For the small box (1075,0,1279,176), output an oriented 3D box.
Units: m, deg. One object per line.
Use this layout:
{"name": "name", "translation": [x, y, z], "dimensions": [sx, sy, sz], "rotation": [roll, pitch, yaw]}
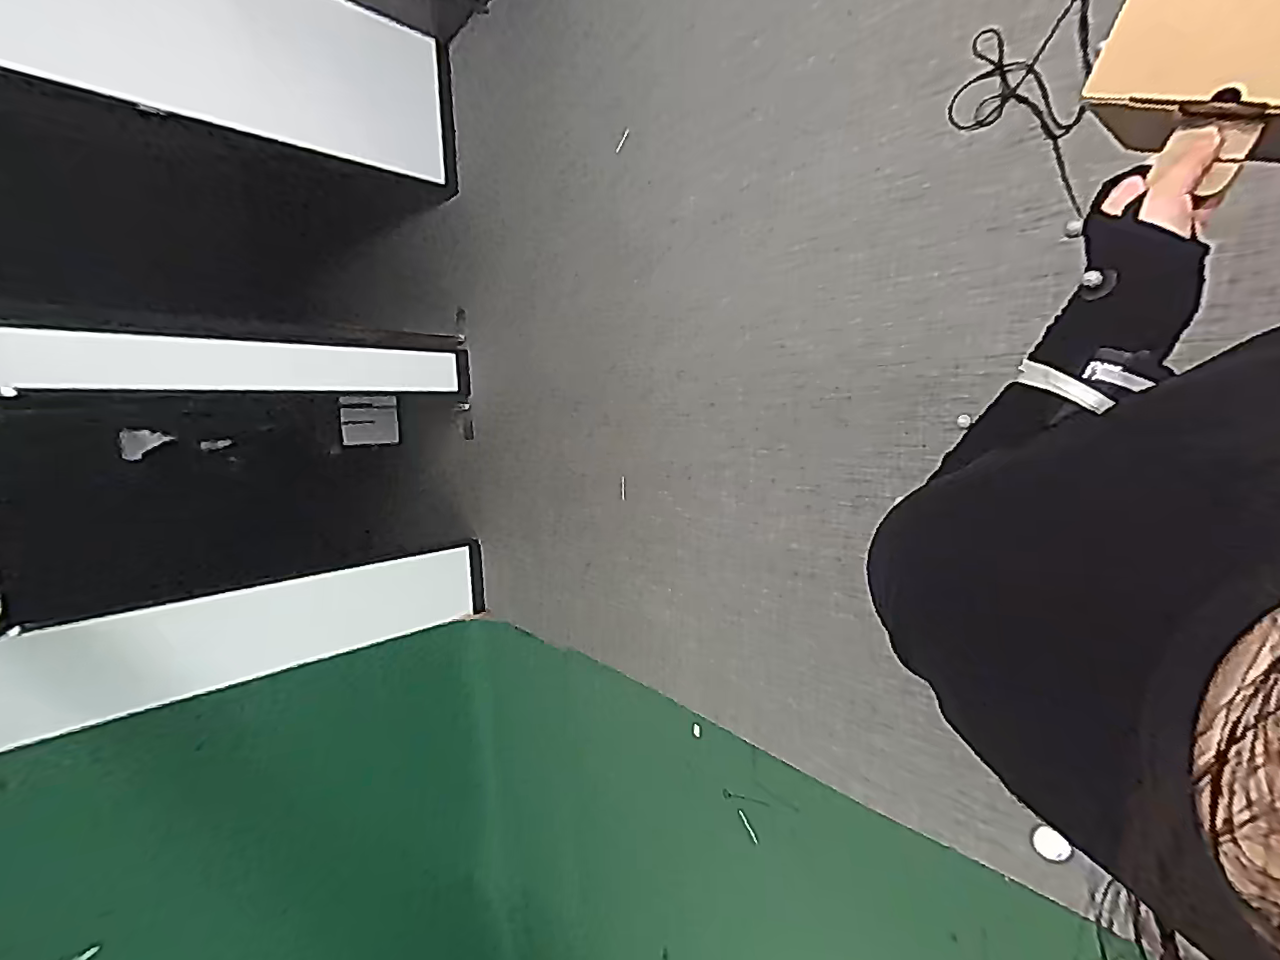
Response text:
{"name": "small box", "translation": [0.455, -0.328, 0.372], "dimensions": [0.168, 0.176, 0.179], "rotation": [38, 128, 38]}
